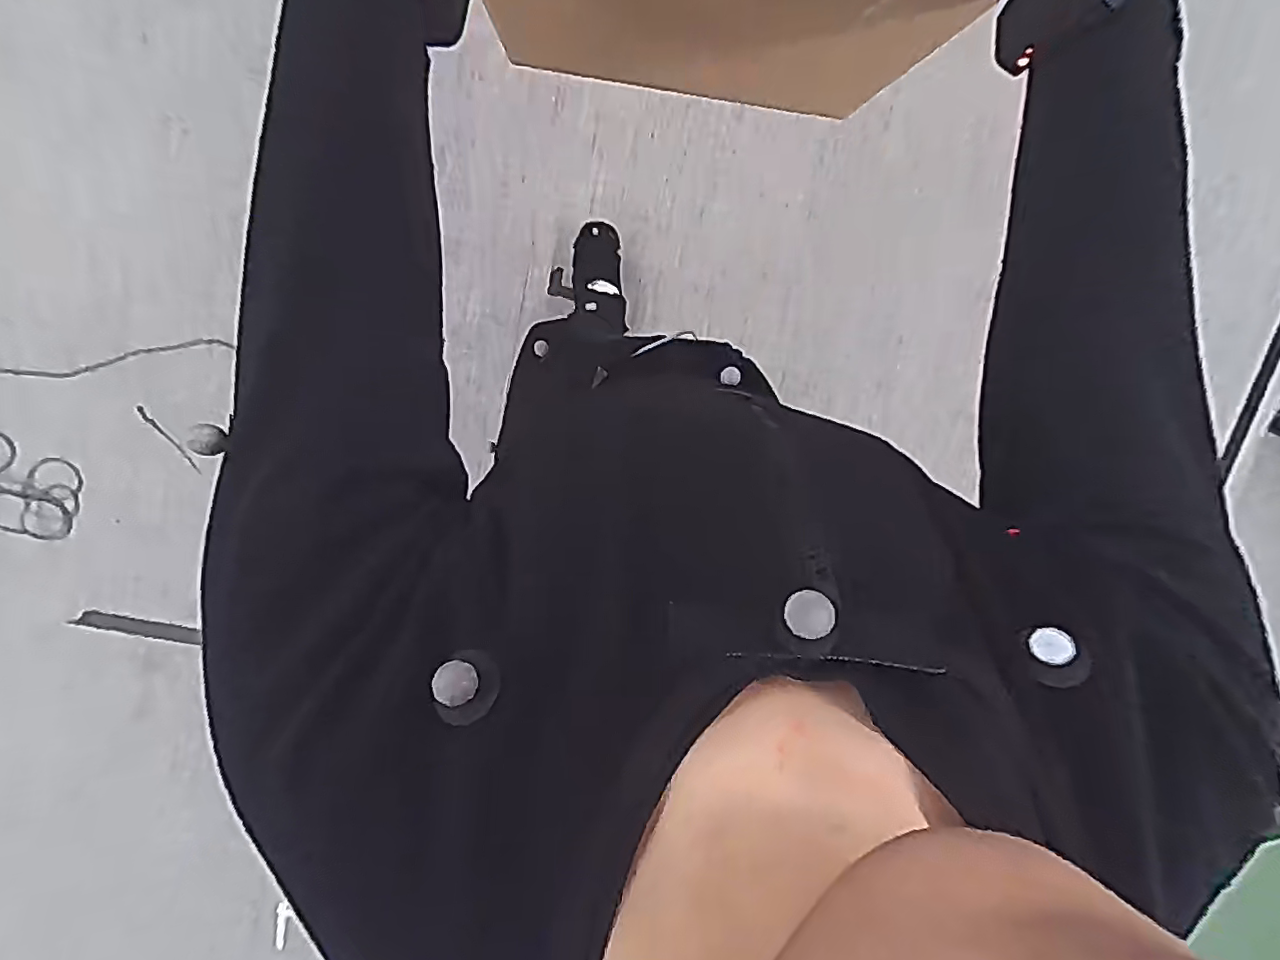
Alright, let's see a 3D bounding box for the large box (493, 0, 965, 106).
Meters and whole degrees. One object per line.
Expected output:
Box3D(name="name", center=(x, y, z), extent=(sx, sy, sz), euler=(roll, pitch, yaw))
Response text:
Box3D(name="large box", center=(0.073, -0.565, 0.454), extent=(0.408, 0.320, 0.320), euler=(6, 109, -6))
